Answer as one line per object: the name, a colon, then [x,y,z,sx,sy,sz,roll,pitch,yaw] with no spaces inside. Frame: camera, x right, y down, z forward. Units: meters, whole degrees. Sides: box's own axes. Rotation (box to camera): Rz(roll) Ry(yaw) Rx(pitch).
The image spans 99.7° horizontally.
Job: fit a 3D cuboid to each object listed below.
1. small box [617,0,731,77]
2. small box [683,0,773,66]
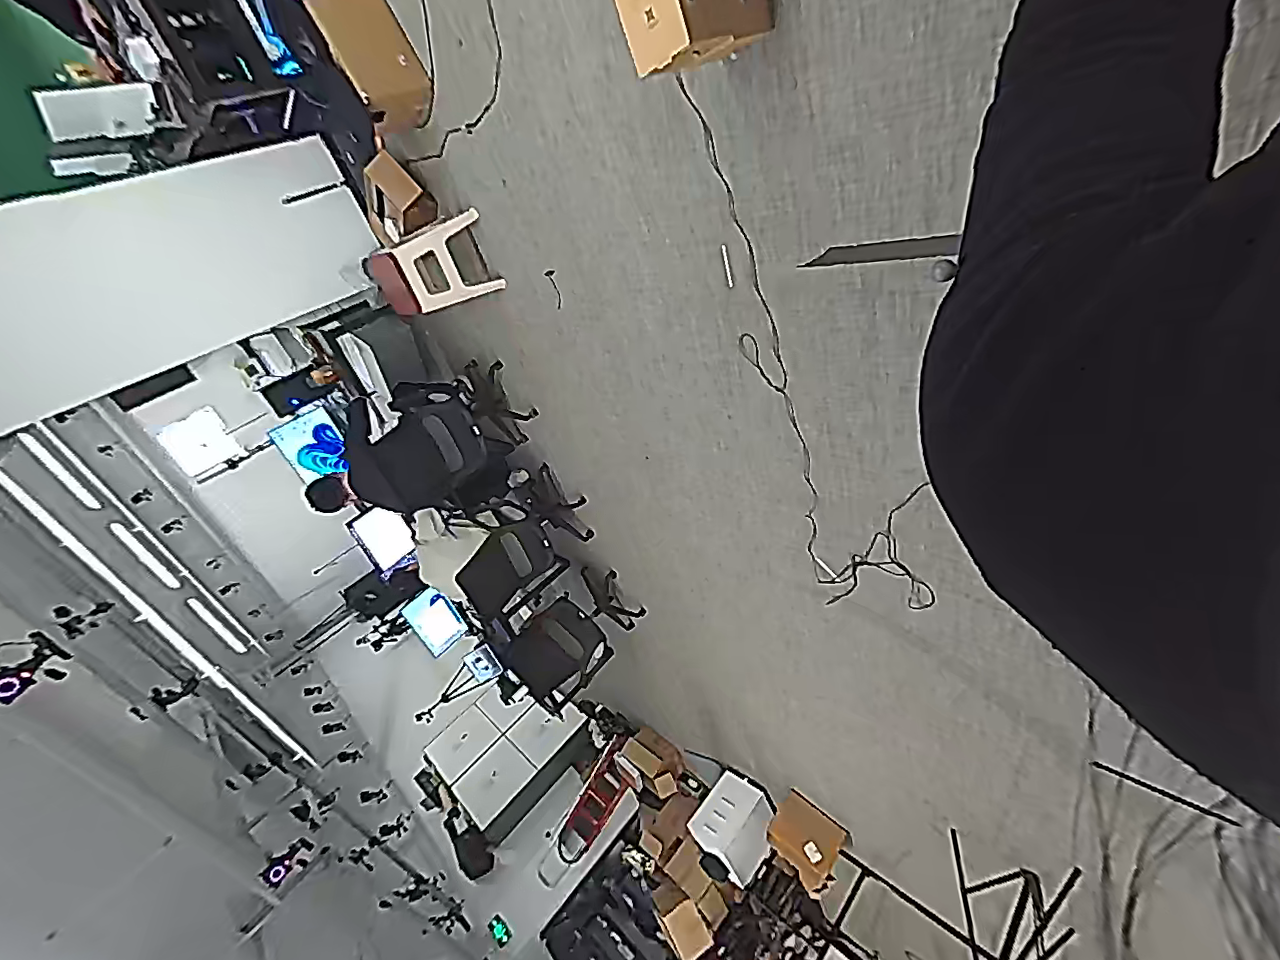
small box: [0.079,-1.046,1.203,0.168,0.176,0.179,9,129,48]
small box: [0.190,-1.131,1.286,0.168,0.176,0.179,13,134,47]
